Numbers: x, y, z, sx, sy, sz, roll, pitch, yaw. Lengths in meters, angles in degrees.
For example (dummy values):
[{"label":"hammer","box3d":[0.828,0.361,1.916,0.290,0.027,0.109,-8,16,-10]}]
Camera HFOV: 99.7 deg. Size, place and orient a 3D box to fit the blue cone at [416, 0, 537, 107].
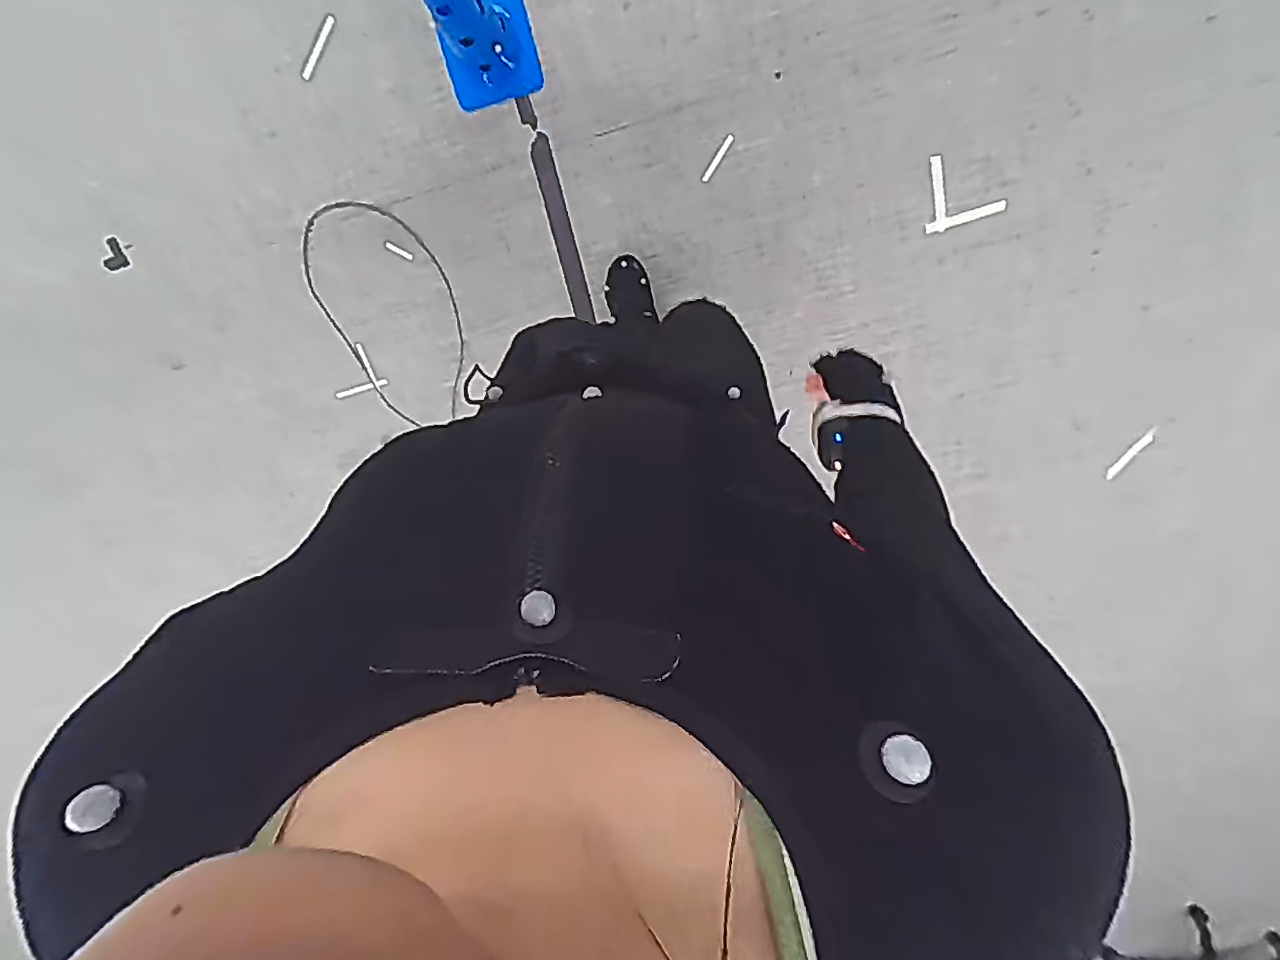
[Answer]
[{"label":"blue cone","box3d":[-0.333,-0.847,0.988,0.193,0.380,0.192,-13,112,9]}]
